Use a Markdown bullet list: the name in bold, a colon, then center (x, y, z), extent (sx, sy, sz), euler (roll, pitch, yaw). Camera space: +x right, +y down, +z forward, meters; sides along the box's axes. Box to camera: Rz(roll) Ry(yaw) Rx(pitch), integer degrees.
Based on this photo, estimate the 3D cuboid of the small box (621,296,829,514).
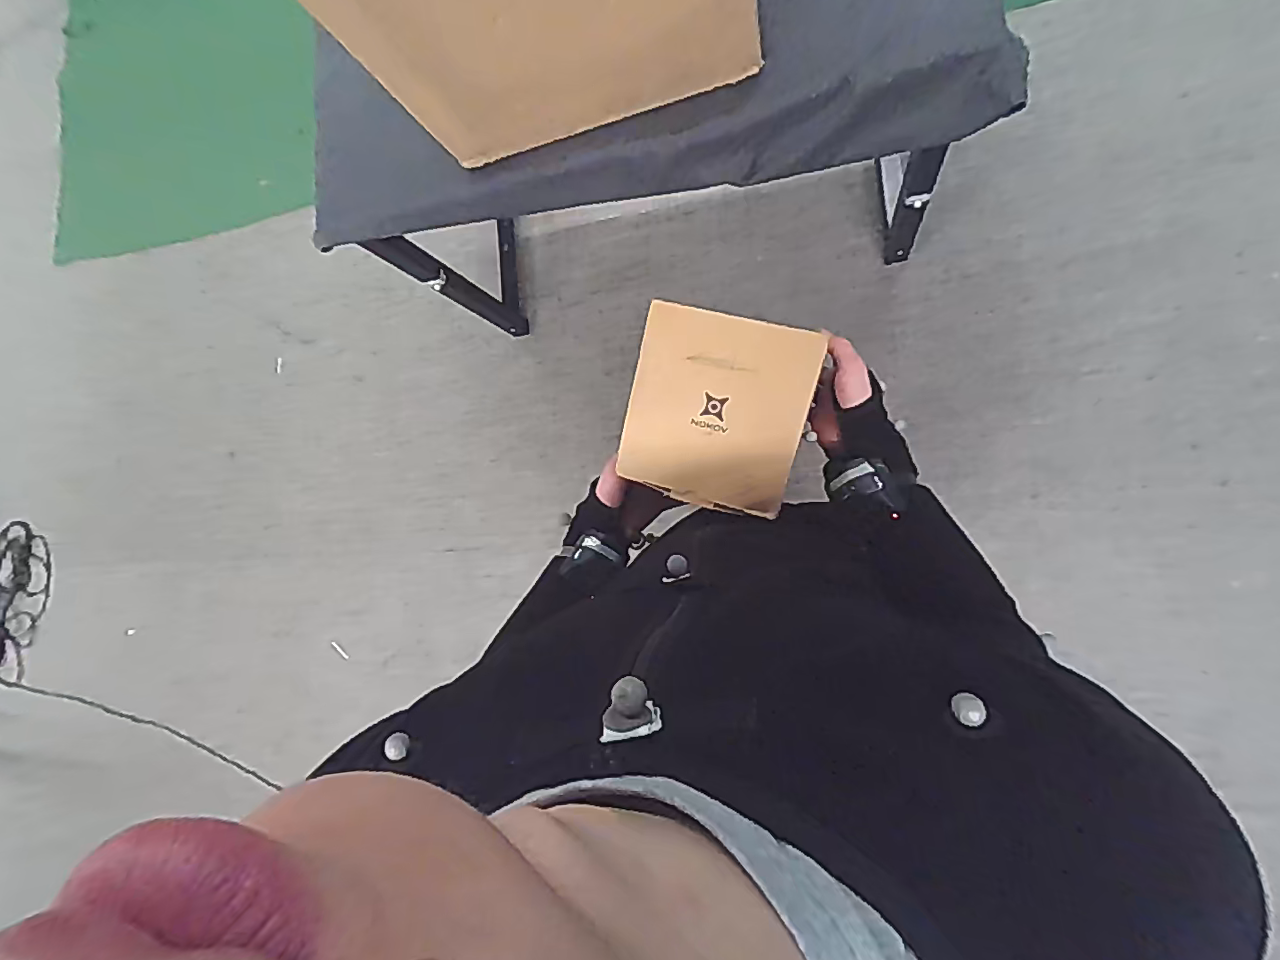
- **small box**: center (0.095, -0.084, 0.582), extent (0.168, 0.176, 0.179), euler (15, 103, 13)
